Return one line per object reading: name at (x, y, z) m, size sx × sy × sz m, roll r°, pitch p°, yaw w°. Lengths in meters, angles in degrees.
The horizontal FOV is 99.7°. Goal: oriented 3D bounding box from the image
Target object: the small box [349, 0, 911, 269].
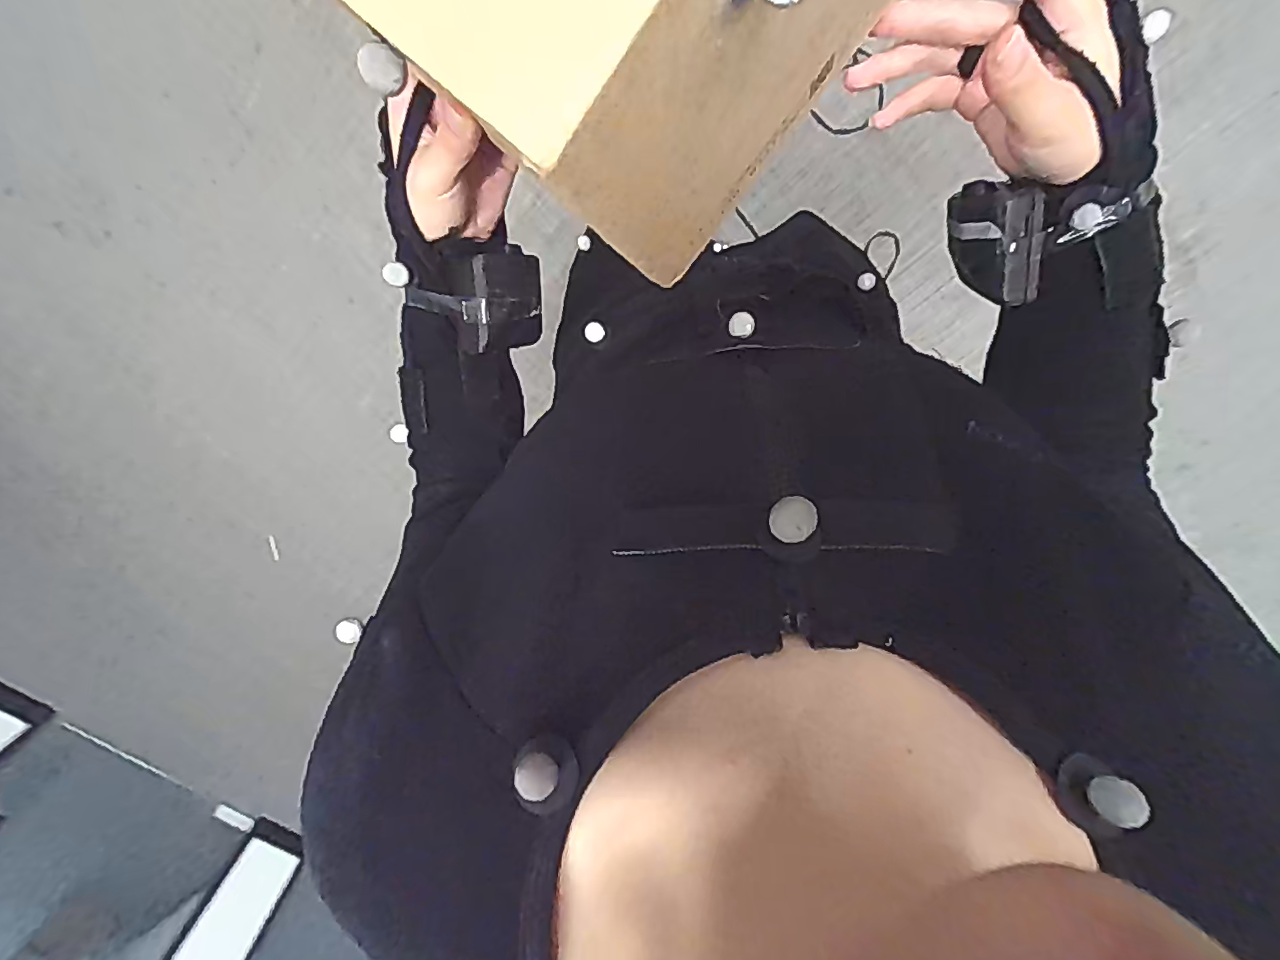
small box at (-0.009, -0.197, 0.181) m, size 0.179 × 0.176 × 0.168 m, roll 41°, pitch 107°, yaw 2°
